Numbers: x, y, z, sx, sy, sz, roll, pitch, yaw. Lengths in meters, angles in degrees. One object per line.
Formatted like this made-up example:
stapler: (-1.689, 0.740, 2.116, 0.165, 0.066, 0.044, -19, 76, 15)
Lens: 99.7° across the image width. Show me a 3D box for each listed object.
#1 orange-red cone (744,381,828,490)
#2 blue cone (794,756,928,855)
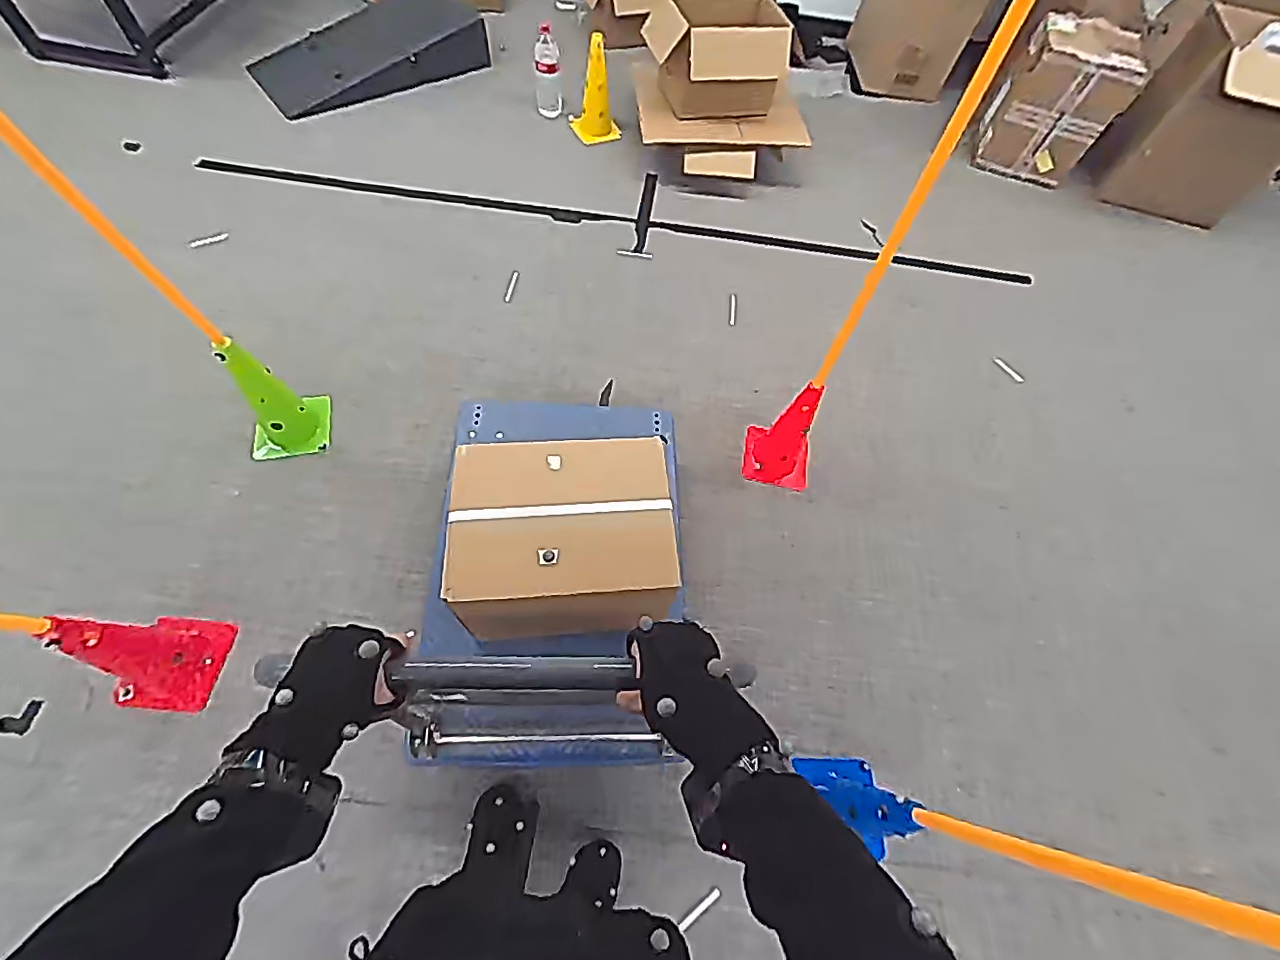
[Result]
orange-red cone: (0.441, -0.152, 1.509, 0.199, 0.360, 0.198, 14, 61, 1)
blue cone: (0.464, 0.653, 1.084, 0.193, 0.380, 0.192, 5, 60, -3)
